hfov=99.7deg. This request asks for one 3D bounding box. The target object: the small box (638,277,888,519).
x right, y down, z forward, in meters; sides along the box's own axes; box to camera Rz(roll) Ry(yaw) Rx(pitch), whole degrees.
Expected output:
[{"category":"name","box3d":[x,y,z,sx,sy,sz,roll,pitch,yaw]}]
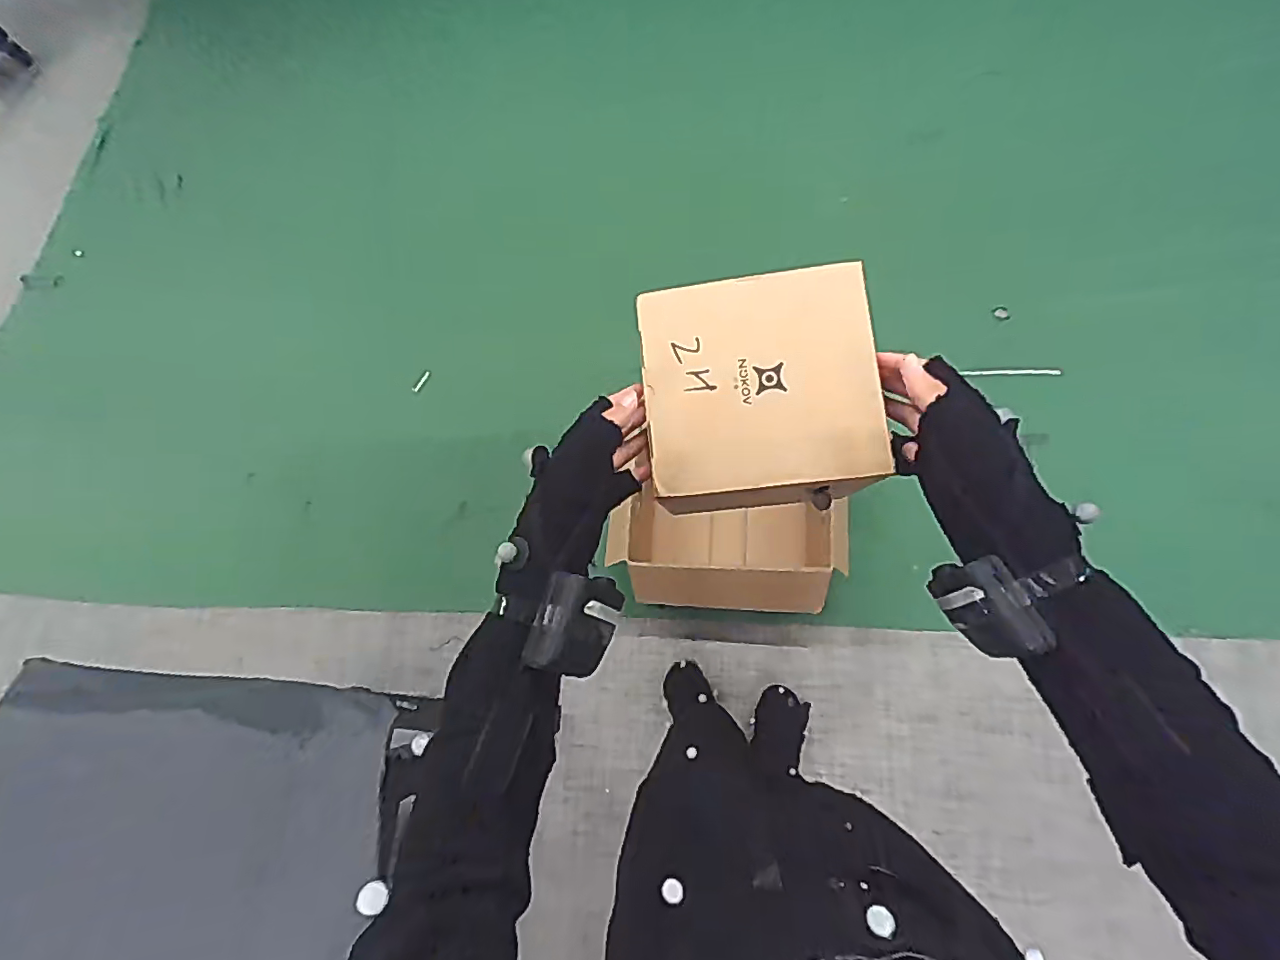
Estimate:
[{"category":"small box","box3d":[0.099,-0.057,0.490,0.179,0.176,0.168,-6,80,7]}]
